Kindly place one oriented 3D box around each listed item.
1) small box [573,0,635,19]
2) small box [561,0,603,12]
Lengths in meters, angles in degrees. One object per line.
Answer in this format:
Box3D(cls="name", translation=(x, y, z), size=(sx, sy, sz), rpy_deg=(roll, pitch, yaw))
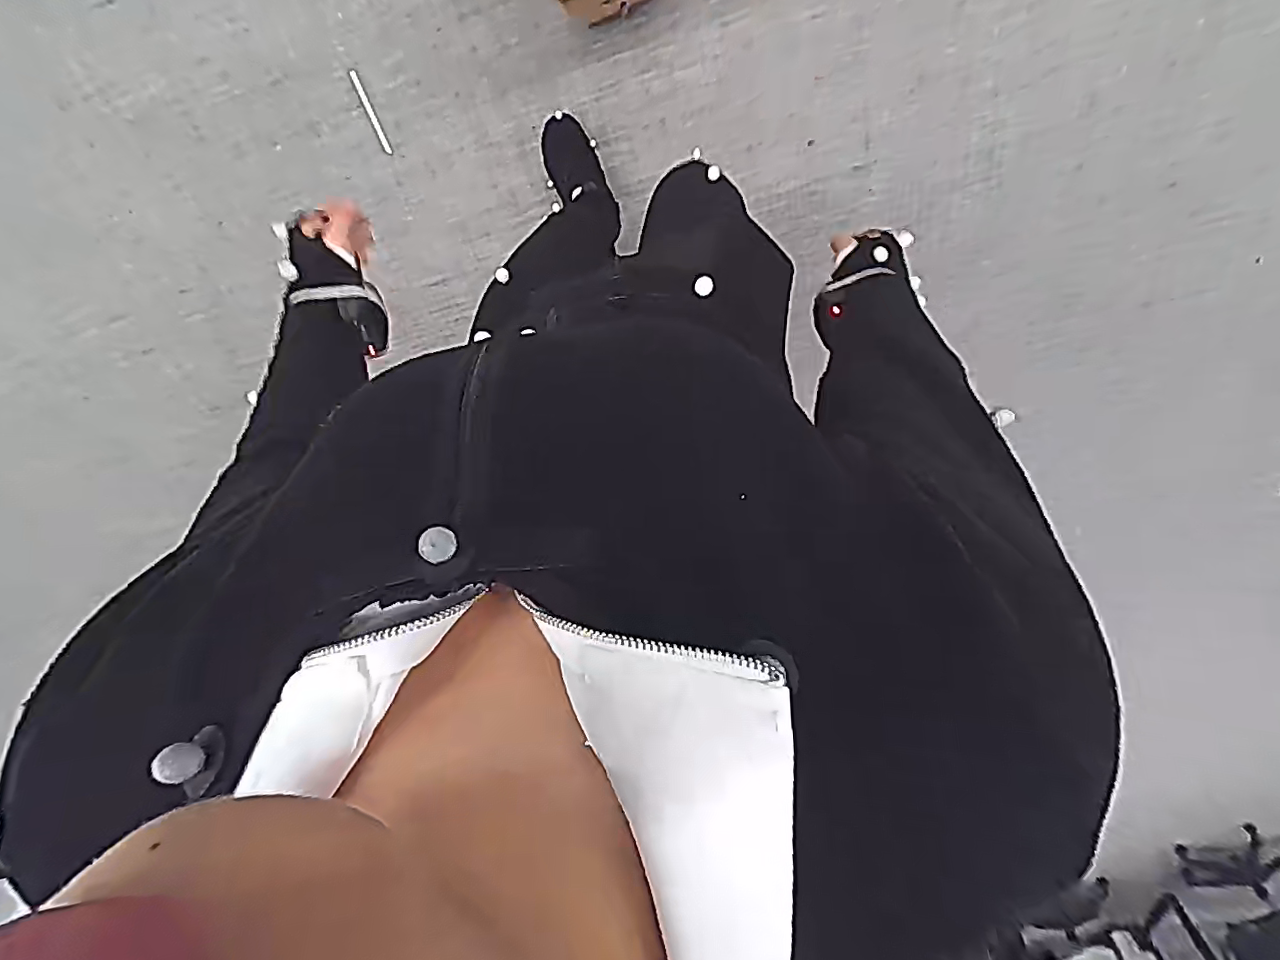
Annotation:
Box3D(cls="small box", translation=(-0.063, -0.932, 0.932), size=(0.168, 0.176, 0.179), rpy_deg=(-16, 124, 10))
Box3D(cls="small box", translation=(-0.067, -0.833, 0.798), size=(0.179, 0.176, 0.168), rpy_deg=(-16, 123, 9))
